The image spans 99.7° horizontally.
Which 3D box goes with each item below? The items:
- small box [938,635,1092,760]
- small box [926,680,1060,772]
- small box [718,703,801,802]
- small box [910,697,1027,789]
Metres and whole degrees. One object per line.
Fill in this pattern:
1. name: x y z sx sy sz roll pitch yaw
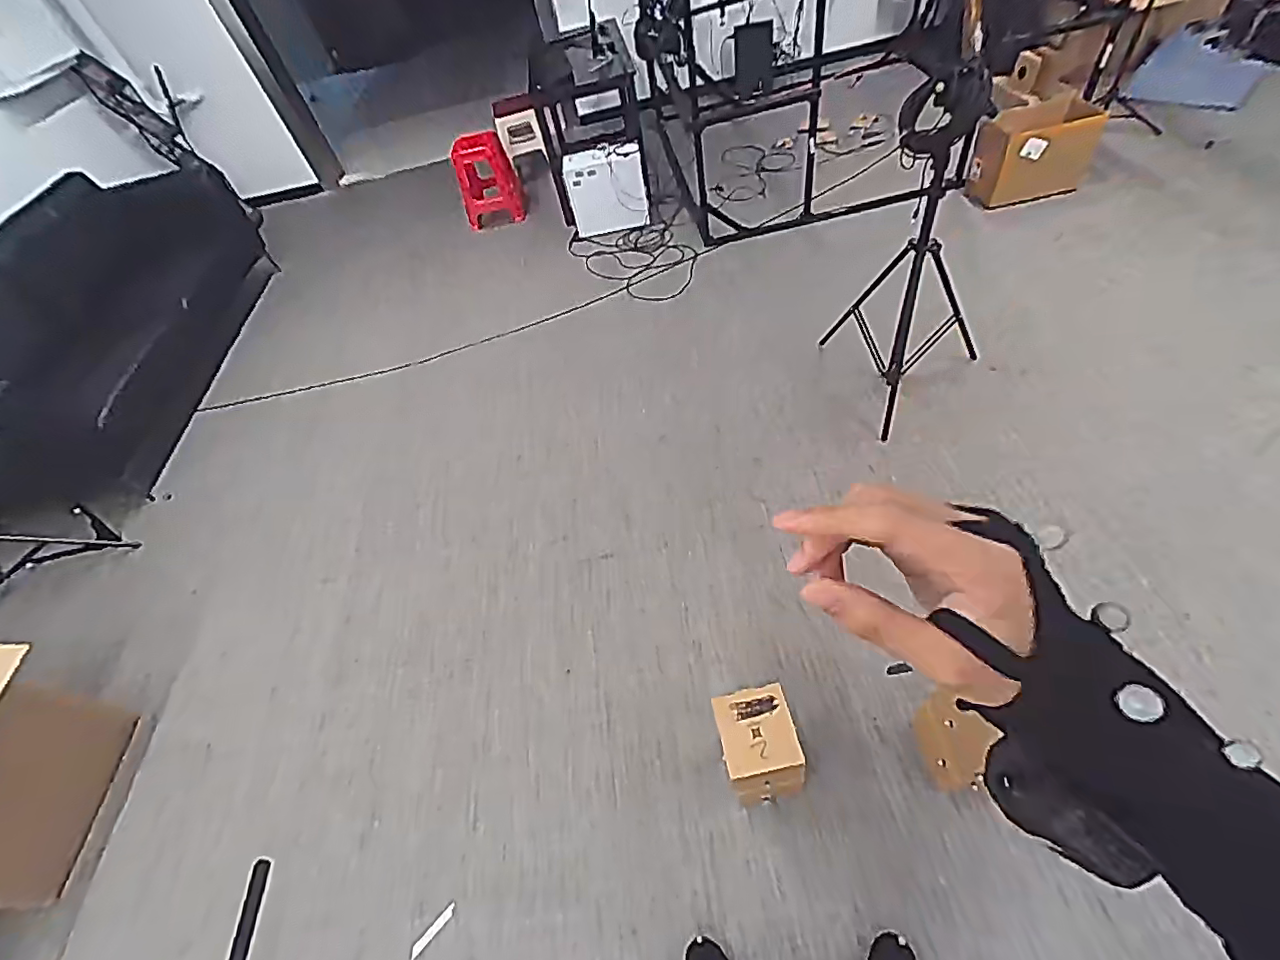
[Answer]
1. small box: 0.724 0.433 1.071 0.168 0.176 0.179 -11 50 4
2. small box: 0.766 0.533 1.196 0.168 0.176 0.179 -10 50 4
3. small box: 0.302 0.699 1.383 0.168 0.176 0.179 -14 50 3
4. small box: 0.788 0.636 1.322 0.168 0.176 0.179 -10 51 5
